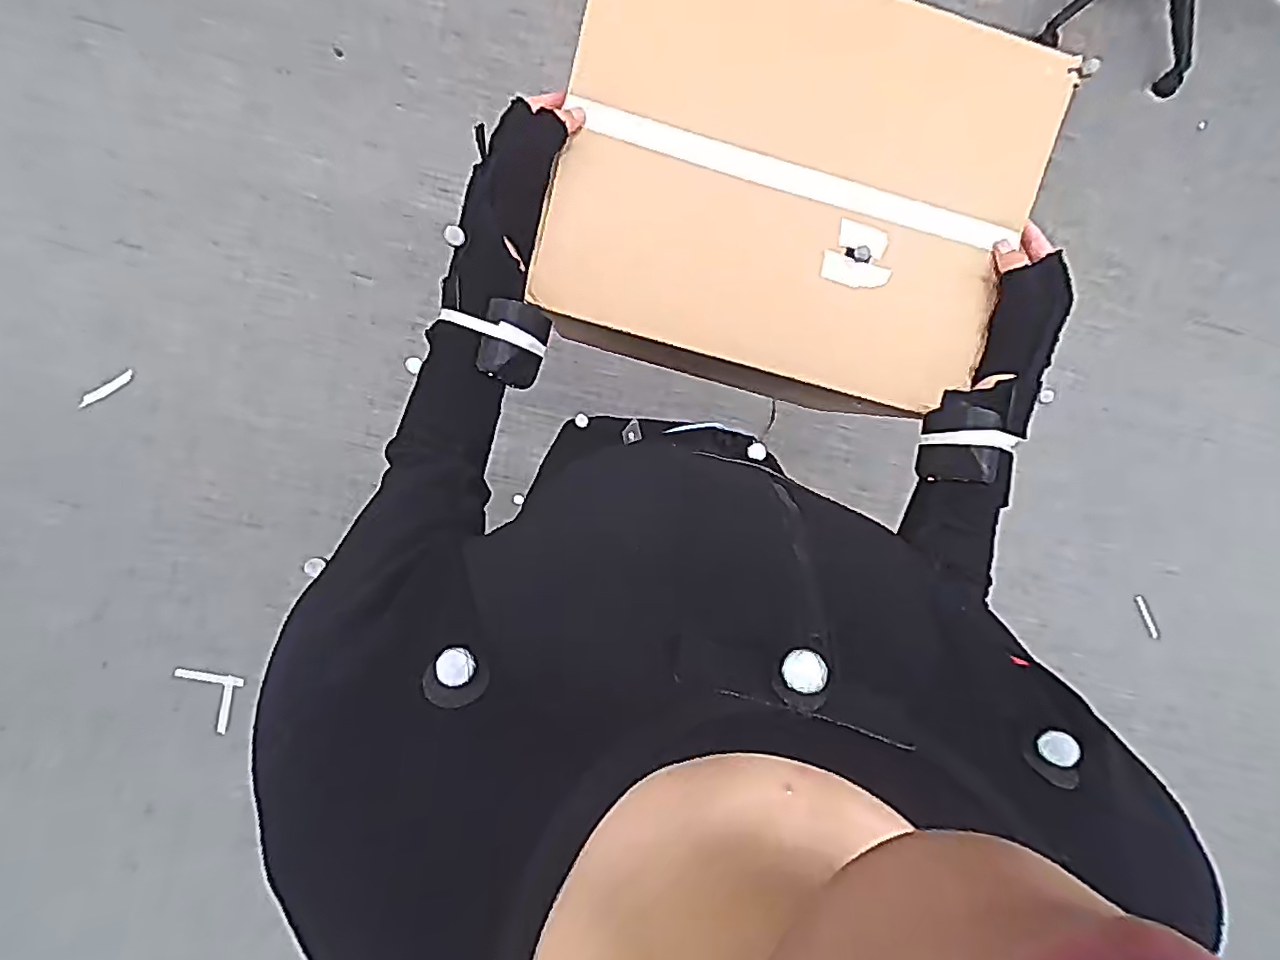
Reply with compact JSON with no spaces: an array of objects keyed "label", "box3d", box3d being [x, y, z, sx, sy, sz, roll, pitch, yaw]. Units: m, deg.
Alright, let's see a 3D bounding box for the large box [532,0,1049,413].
[{"label":"large box","box3d":[0.119,-0.278,0.617,0.408,0.320,0.320,14,99,-7]}]
